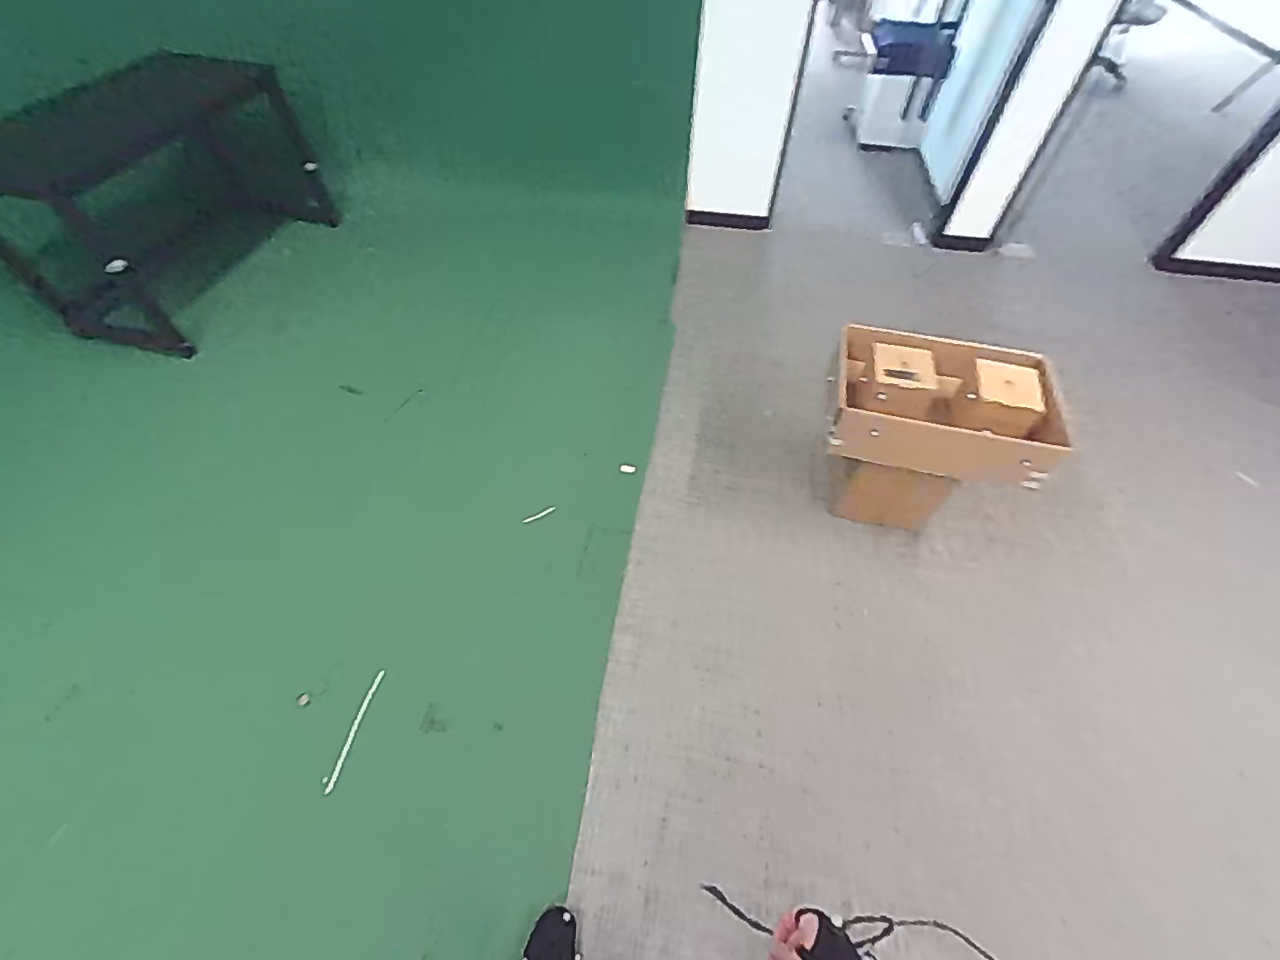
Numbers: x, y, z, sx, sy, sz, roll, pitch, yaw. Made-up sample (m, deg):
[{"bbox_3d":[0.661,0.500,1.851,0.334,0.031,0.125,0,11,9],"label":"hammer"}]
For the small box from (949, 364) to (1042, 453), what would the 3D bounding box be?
[{"bbox_3d":[1.035,-0.209,1.592,0.168,0.176,0.179,13,54,8],"label":"small box"}]
